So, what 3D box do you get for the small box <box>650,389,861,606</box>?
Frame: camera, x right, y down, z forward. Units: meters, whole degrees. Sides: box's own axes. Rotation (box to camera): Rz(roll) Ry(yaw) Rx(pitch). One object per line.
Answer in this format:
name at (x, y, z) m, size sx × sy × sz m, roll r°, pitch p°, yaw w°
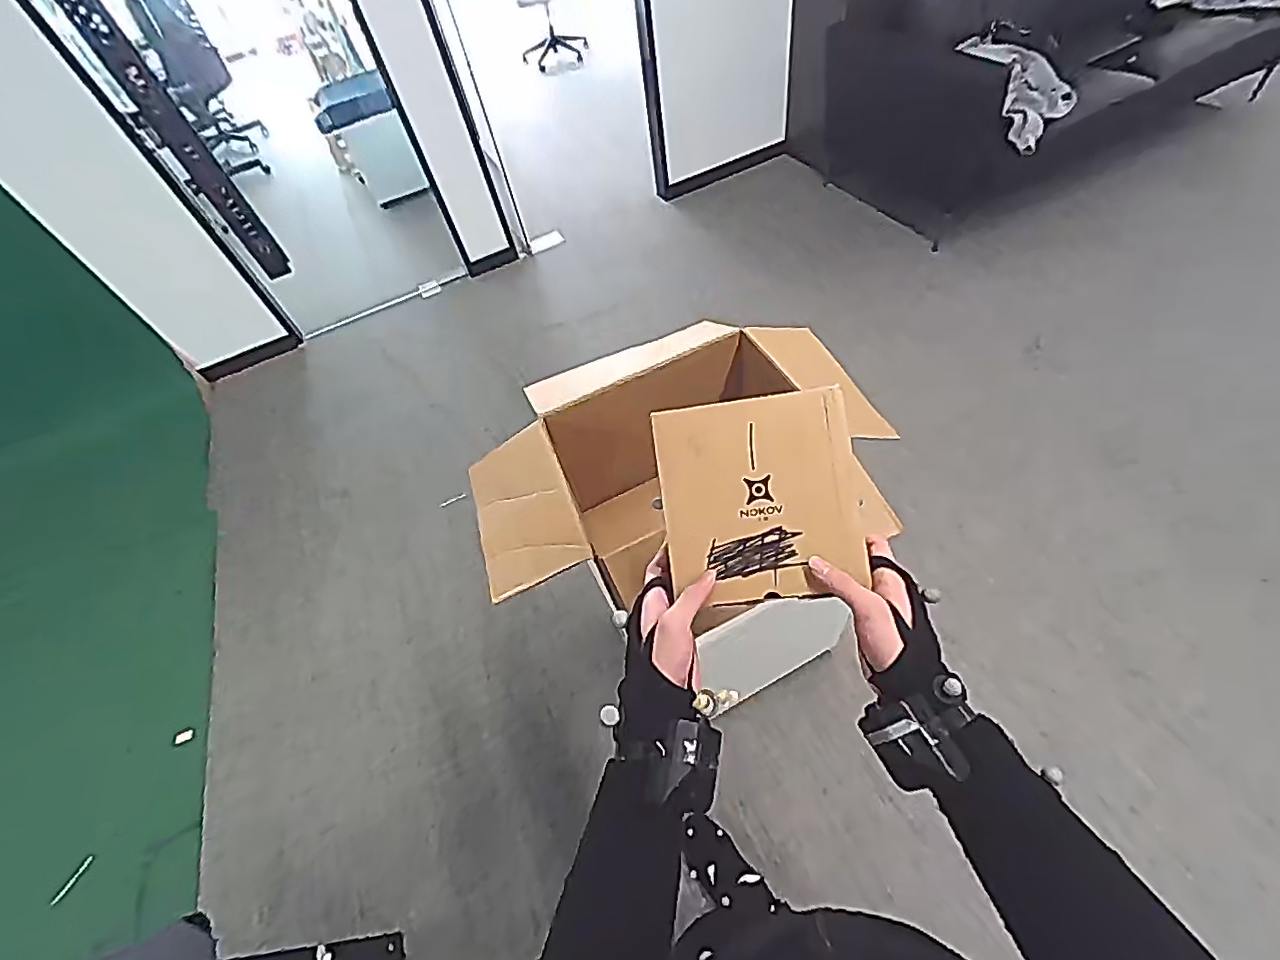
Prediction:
small box at (0.107, 0.018, 0.542) m, size 0.168 × 0.176 × 0.179 m, roll -6°, pitch 87°, yaw 6°
